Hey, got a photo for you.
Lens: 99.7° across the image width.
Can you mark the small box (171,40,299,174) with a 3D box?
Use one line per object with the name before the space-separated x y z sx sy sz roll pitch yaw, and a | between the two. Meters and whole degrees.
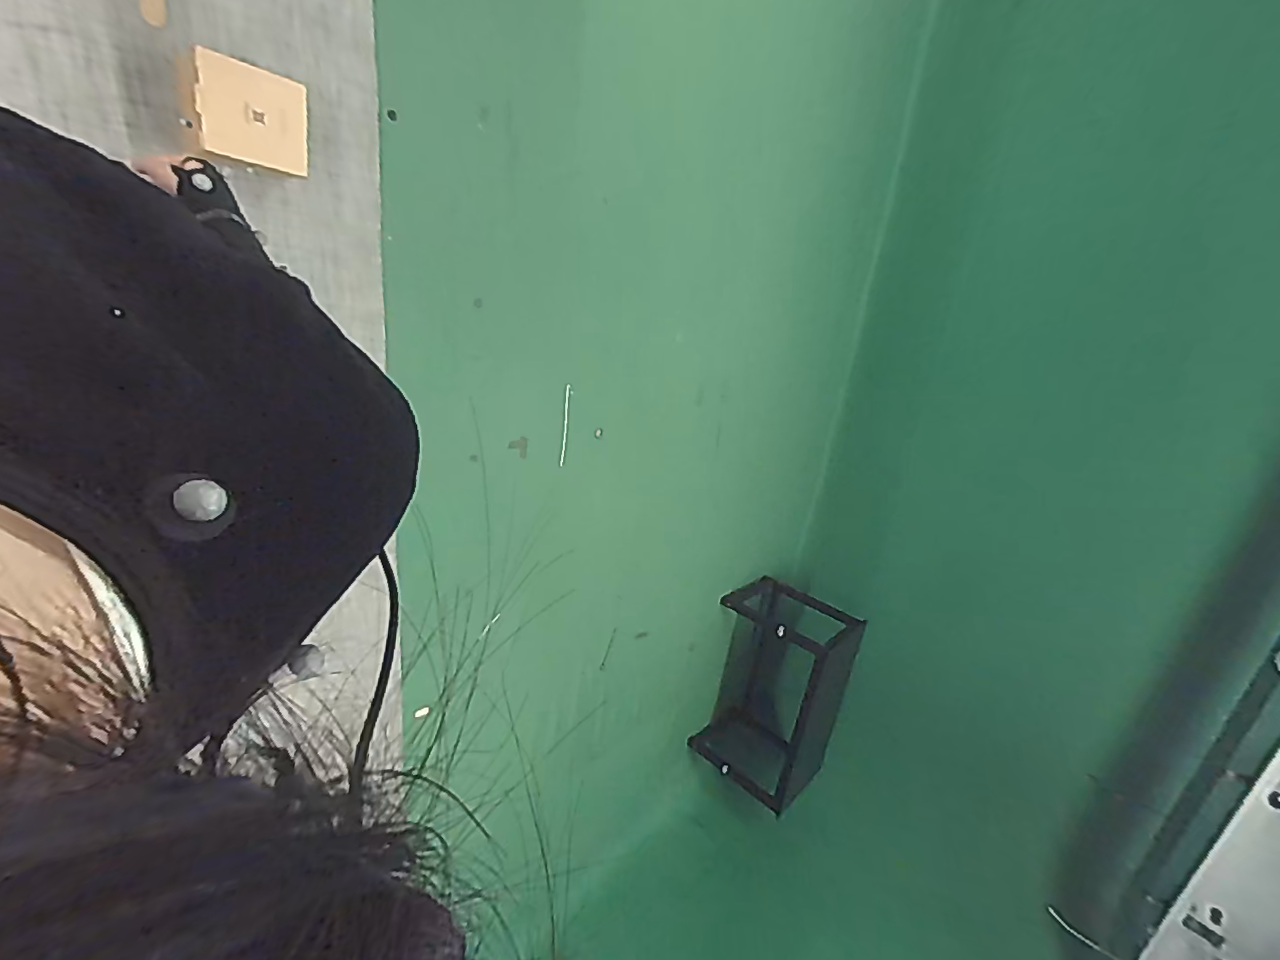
small box | -0.796 -0.715 1.063 0.179 0.176 0.168 -10 116 -48
